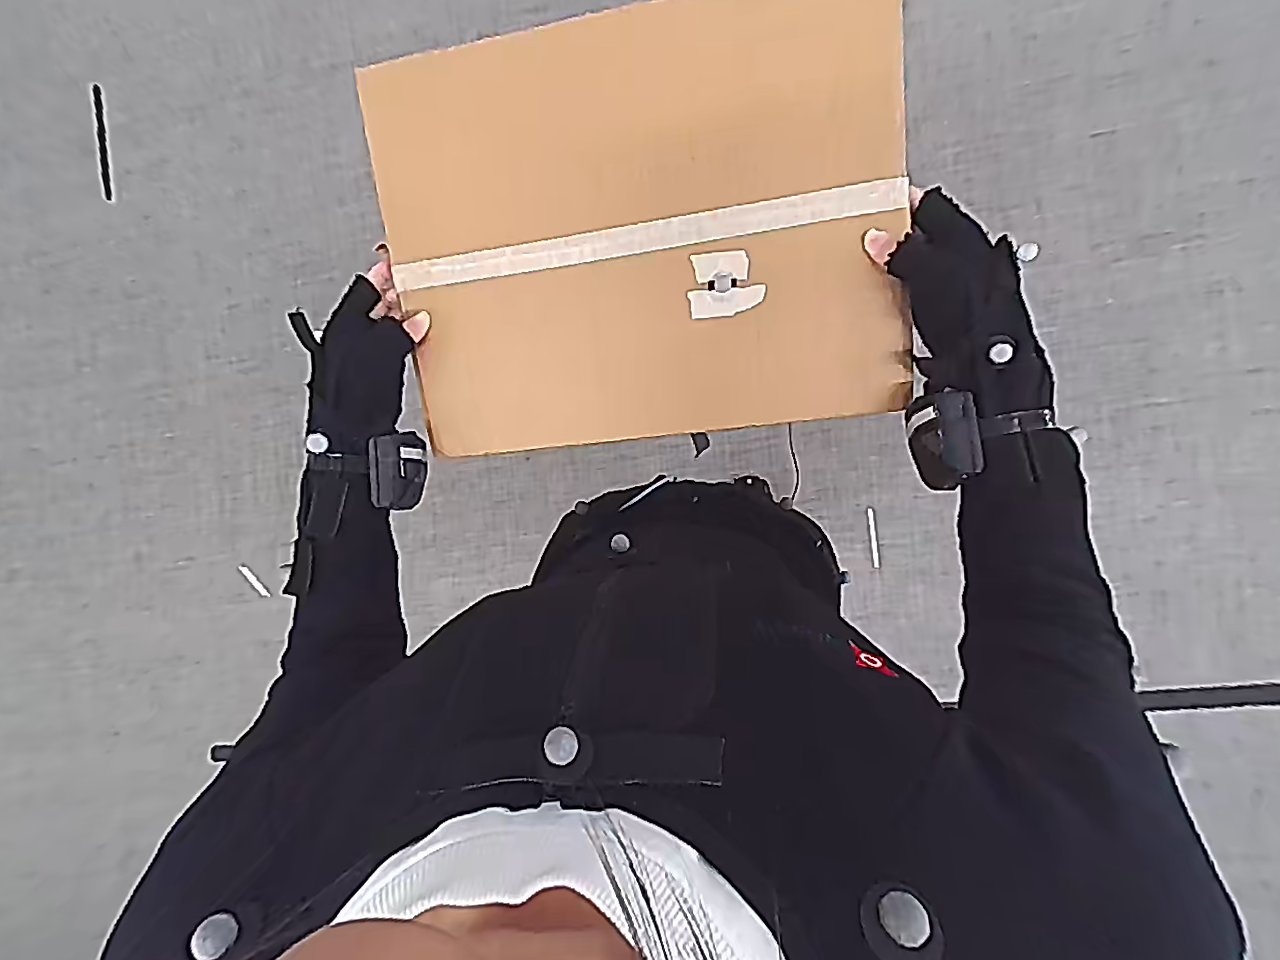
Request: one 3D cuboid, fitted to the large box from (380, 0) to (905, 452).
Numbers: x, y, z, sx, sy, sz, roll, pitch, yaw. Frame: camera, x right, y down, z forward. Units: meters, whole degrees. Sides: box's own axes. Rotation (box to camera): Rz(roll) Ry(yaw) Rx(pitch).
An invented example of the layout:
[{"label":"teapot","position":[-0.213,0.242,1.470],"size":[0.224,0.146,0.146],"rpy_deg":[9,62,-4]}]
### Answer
[{"label":"large box","position":[0.017,-0.225,0.583],"size":[0.408,0.320,0.320],"rpy_deg":[-6,102,9]}]
